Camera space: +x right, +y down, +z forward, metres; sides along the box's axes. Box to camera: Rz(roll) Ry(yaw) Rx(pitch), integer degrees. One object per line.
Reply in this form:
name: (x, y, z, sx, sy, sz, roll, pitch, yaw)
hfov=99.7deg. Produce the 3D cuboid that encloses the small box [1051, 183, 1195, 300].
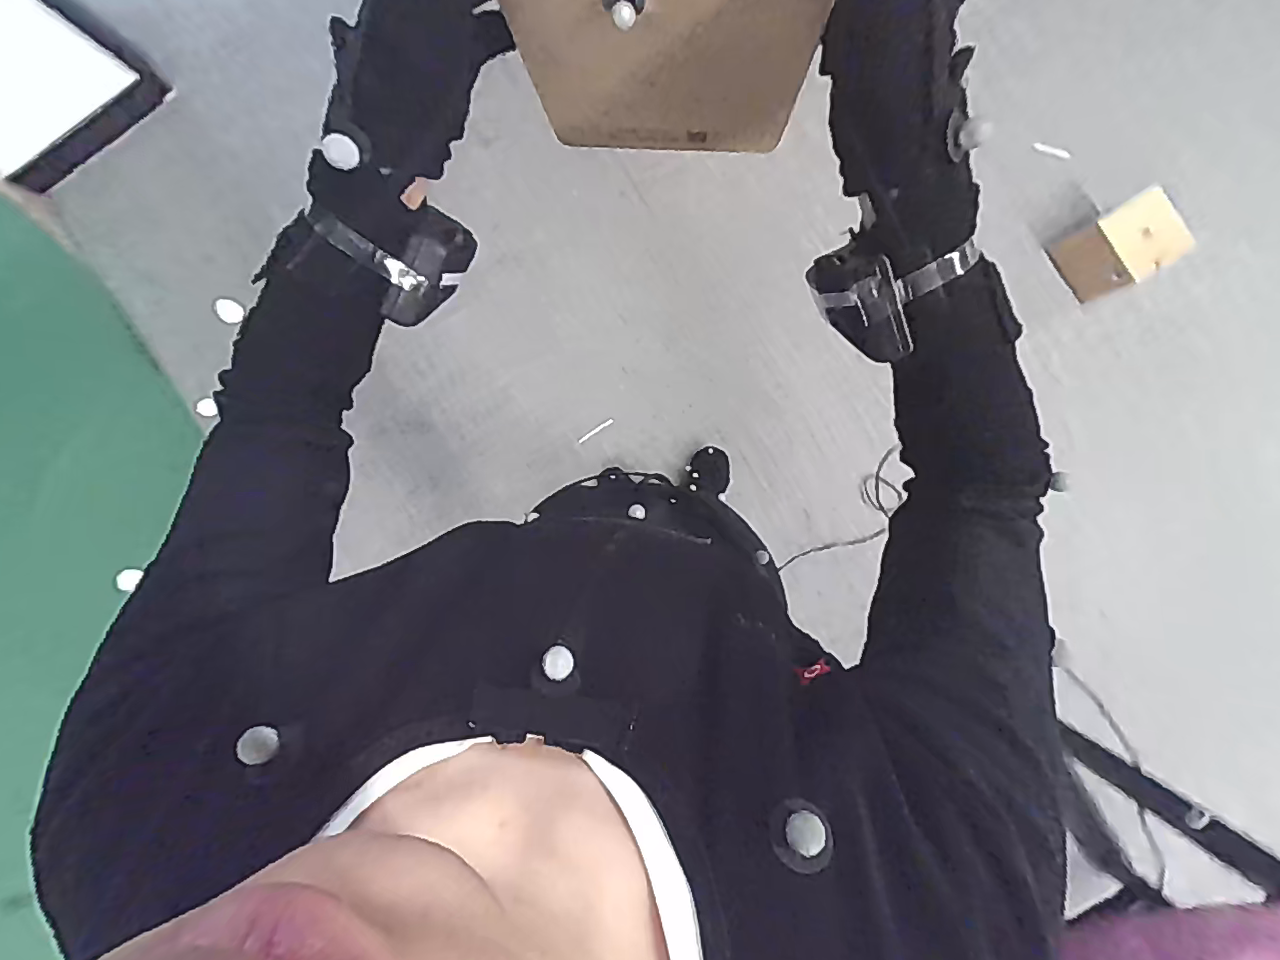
small box: (1.189, -0.584, 1.348, 0.168, 0.176, 0.179, -33, 90, 2)

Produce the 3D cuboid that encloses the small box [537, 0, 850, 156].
small box: (0.031, -0.325, 0.314, 0.168, 0.176, 0.179, 5, 95, 4)
